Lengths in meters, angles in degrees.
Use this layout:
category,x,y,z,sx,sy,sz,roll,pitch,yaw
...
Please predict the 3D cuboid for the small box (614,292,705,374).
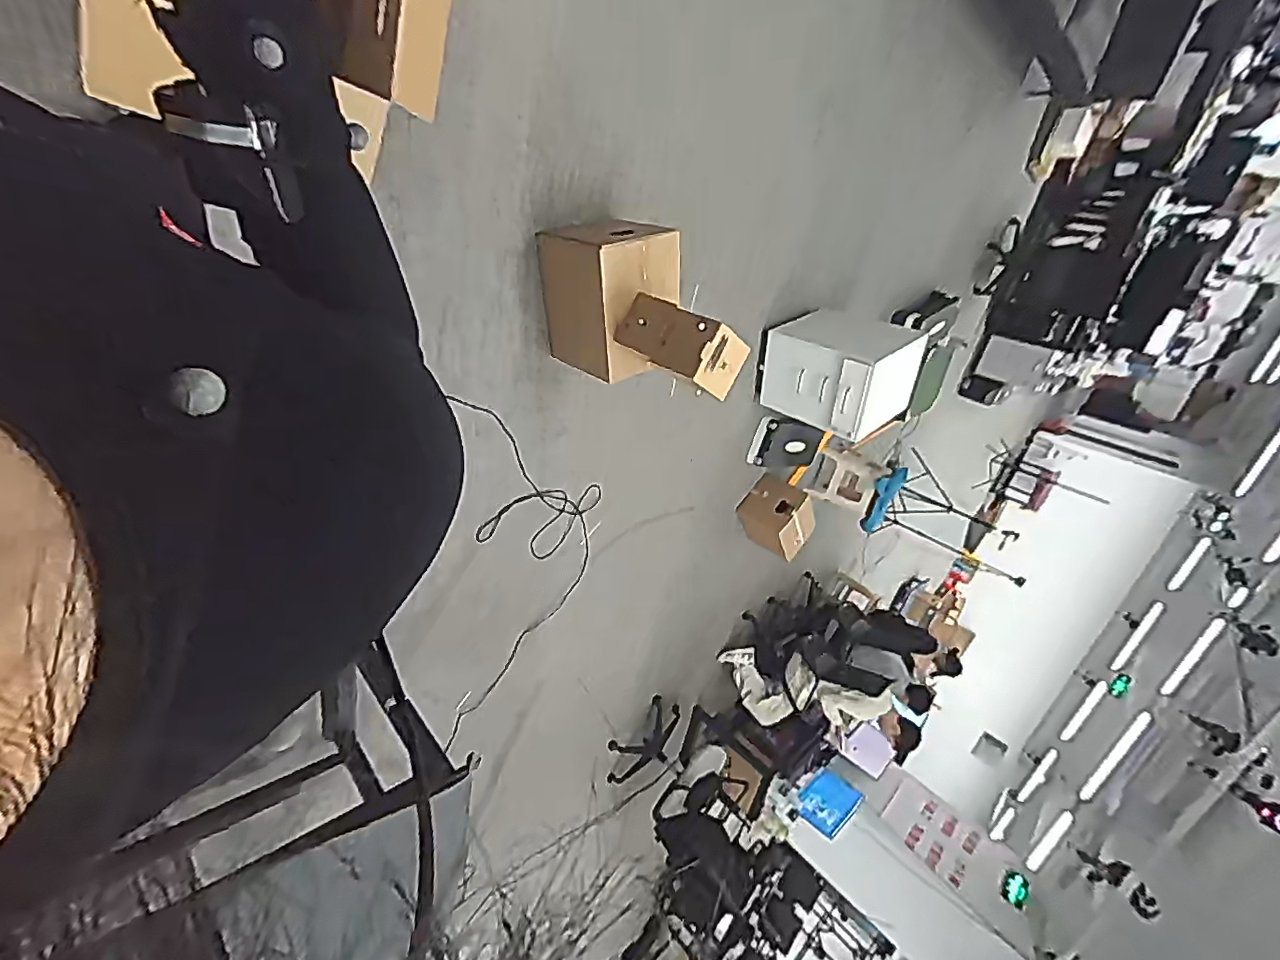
category,x,y,z,sx,sy,sz,roll,pitch,yaw
small box,0.055,-0.441,1.610,0.179,0.176,0.168,21,99,-51
